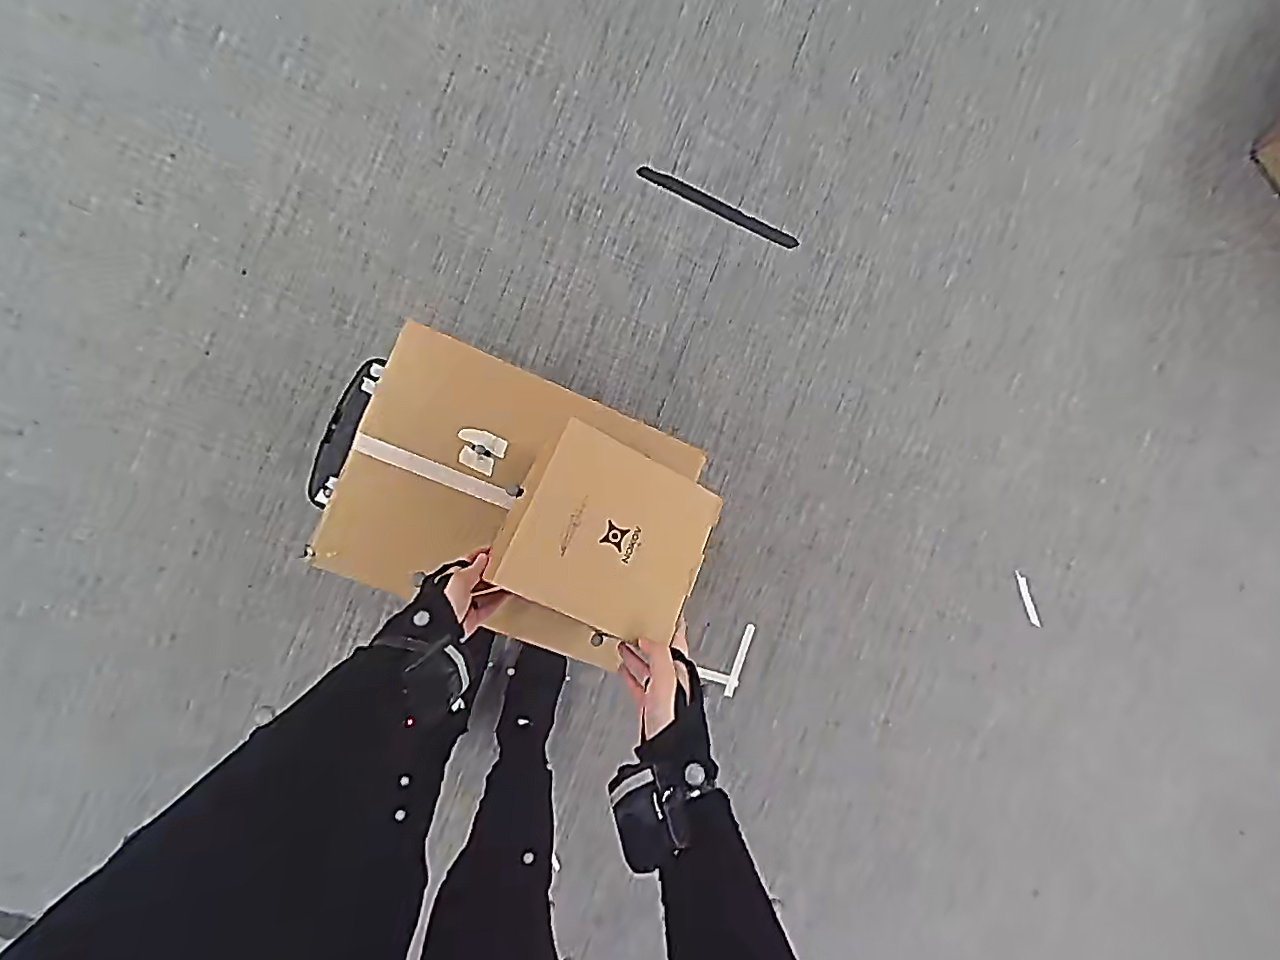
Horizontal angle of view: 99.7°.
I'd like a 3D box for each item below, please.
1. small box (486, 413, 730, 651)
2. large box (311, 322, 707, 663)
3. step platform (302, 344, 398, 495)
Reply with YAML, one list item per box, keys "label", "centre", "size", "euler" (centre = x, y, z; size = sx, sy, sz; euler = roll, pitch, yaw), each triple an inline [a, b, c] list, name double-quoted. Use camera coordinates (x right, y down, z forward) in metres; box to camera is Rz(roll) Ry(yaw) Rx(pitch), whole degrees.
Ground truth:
- label: "small box"
  centre: [-0.043, 0.056, 0.564]
  size: [0.179, 0.176, 0.168]
  euler: [28, 74, -14]
- label: "large box"
  centre: [-0.170, 0.019, 0.811]
  size: [0.408, 0.320, 0.320]
  euler: [23, 87, -9]
- label: "step platform"
  centre: [-0.249, 0.023, 1.040]
  size: [0.684, 0.204, 0.286]
  euler: [28, 87, -9]
